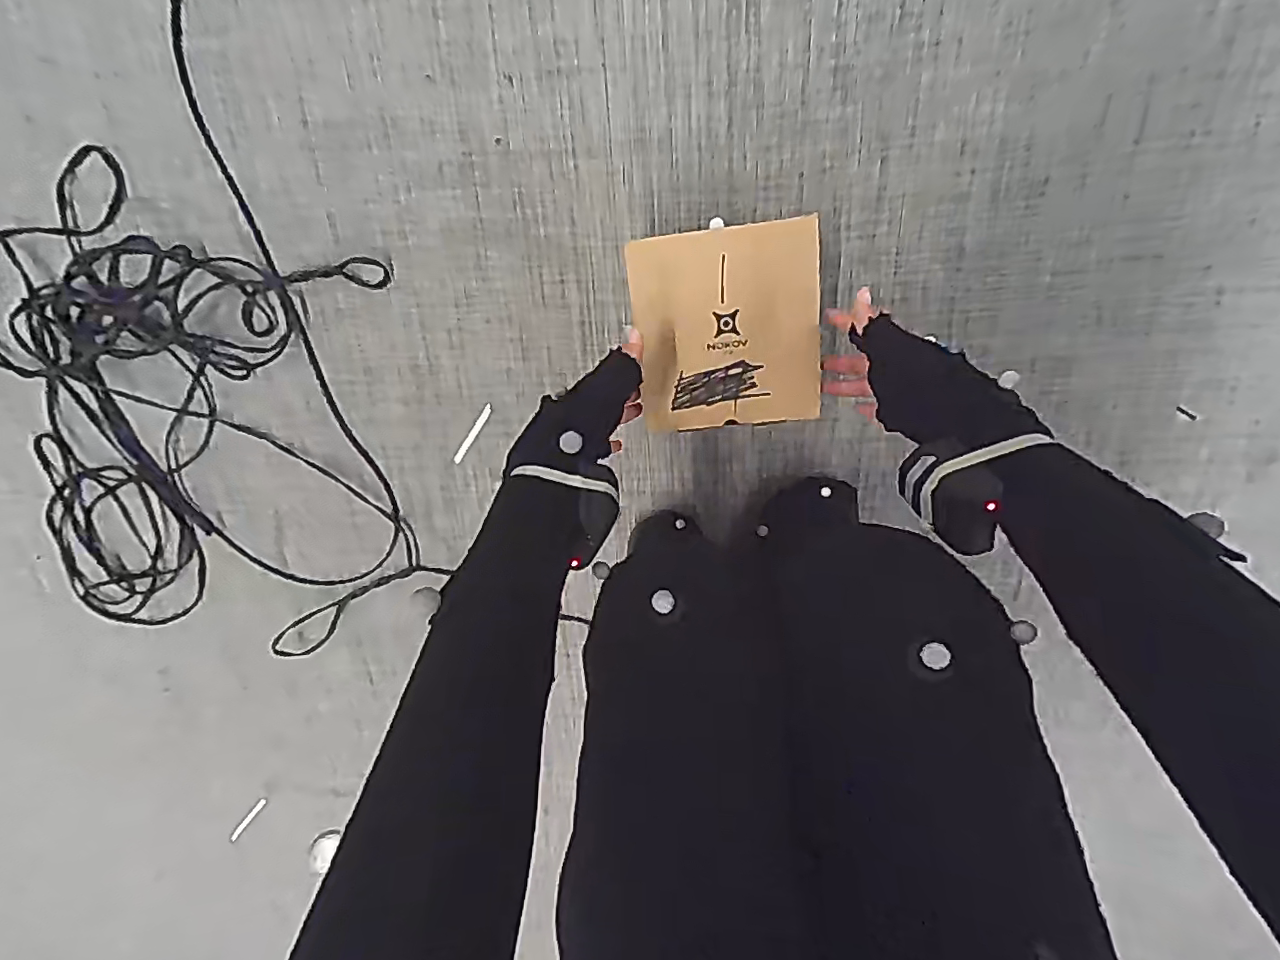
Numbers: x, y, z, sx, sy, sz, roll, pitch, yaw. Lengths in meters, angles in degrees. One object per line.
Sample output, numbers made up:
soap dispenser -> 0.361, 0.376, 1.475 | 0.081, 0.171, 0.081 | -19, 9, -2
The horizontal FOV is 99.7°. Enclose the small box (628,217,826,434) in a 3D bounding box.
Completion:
small box -> 0.084, -0.157, 0.550 | 0.168, 0.176, 0.179 | -4, 110, 6
